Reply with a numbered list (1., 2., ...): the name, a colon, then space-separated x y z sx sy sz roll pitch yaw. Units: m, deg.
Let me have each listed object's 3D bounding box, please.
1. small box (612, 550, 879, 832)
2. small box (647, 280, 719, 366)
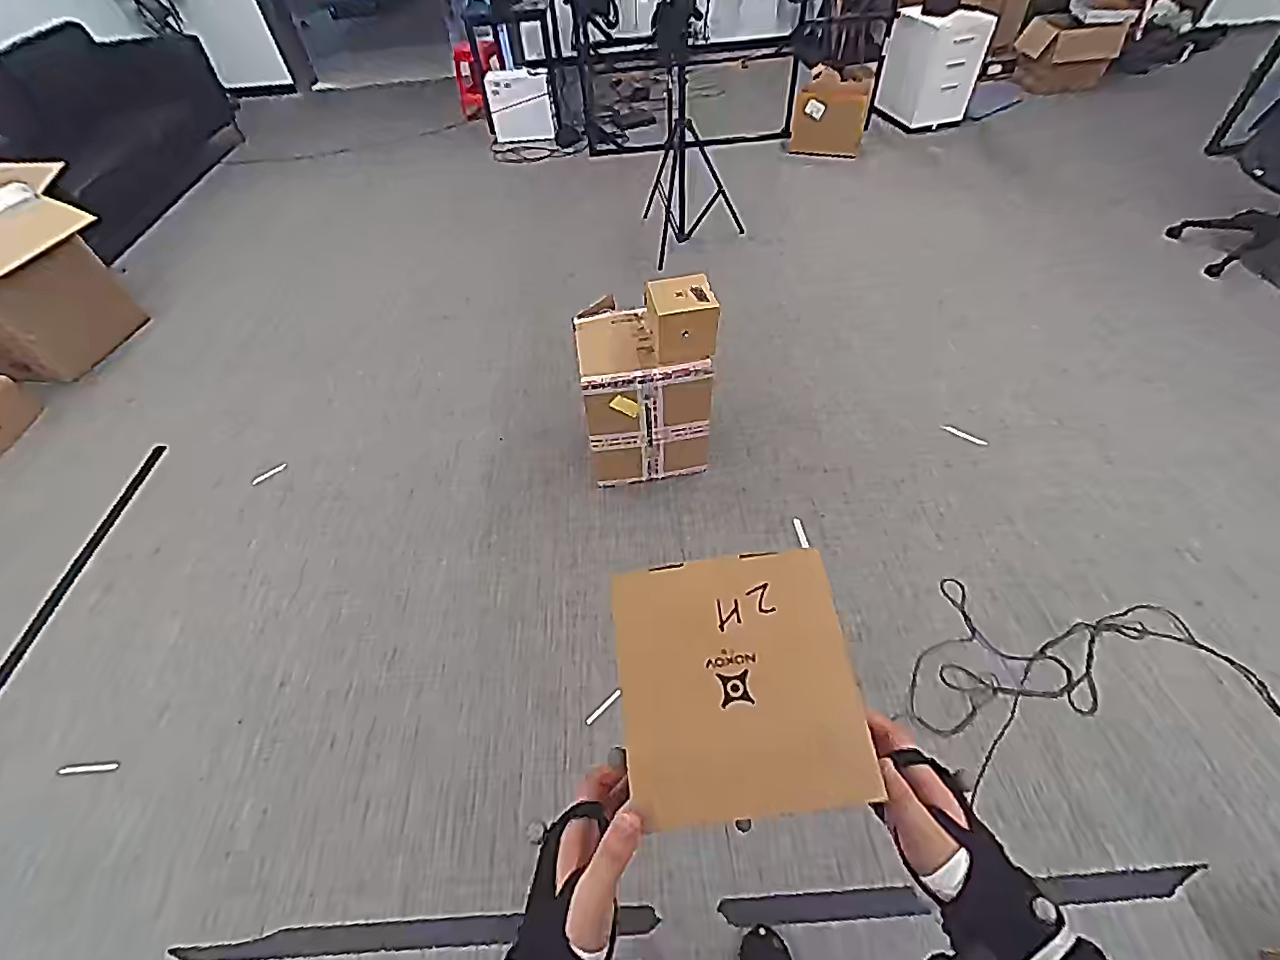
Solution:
1. small box: 0.073 0.177 0.458 0.168 0.176 0.179 -8 62 0
2. small box: 0.120 -0.456 1.581 0.179 0.176 0.168 -10 53 -5
